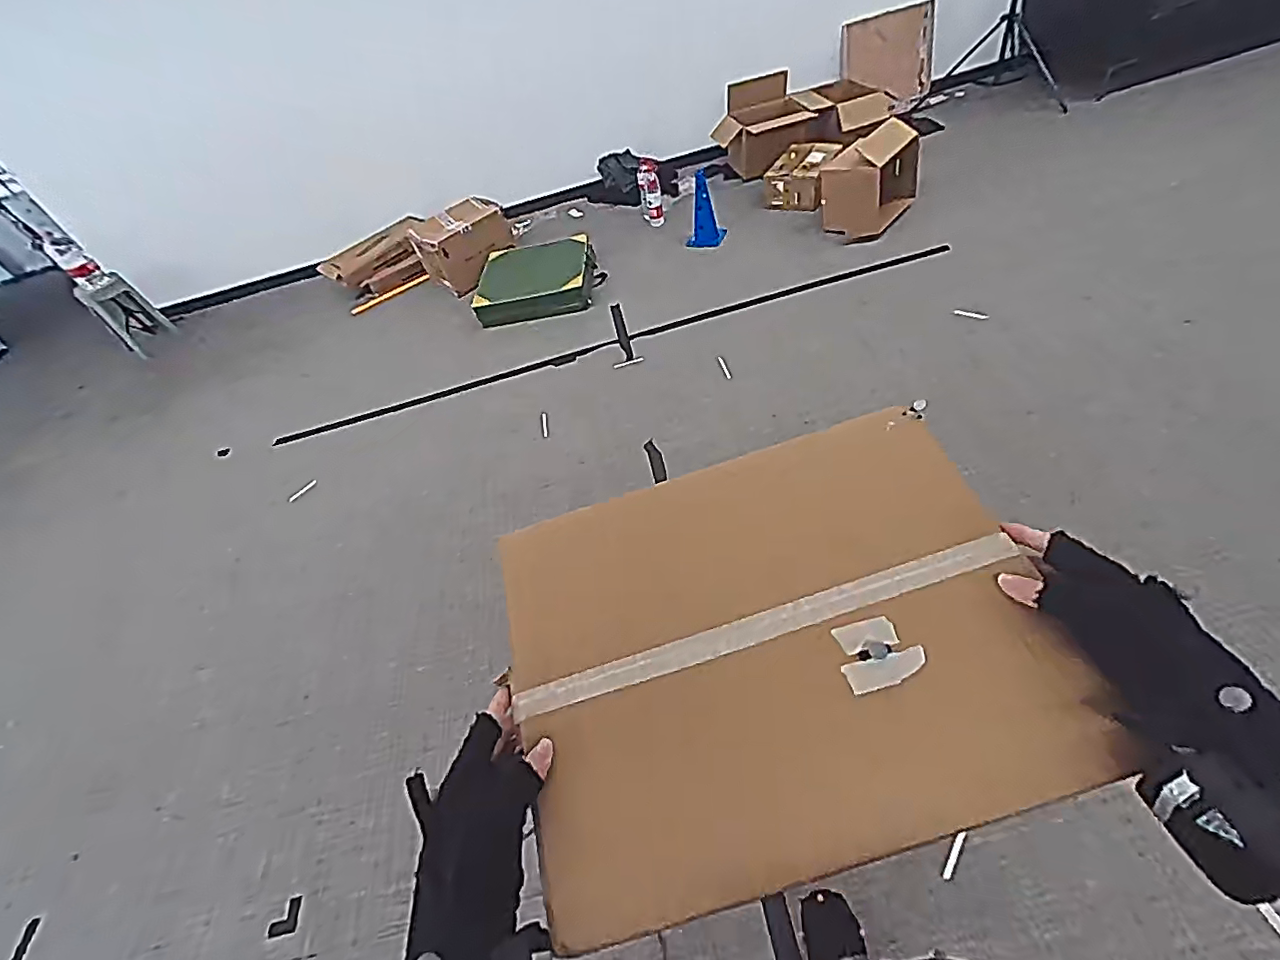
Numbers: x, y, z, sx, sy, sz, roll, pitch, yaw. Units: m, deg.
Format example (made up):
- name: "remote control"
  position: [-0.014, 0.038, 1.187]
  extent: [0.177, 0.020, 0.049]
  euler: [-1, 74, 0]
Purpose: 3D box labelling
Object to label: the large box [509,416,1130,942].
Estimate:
- name: "large box"
  position: [0.125, 0.200, 0.561]
  extent: [0.408, 0.320, 0.320]
  euler: [-19, 57, 0]
